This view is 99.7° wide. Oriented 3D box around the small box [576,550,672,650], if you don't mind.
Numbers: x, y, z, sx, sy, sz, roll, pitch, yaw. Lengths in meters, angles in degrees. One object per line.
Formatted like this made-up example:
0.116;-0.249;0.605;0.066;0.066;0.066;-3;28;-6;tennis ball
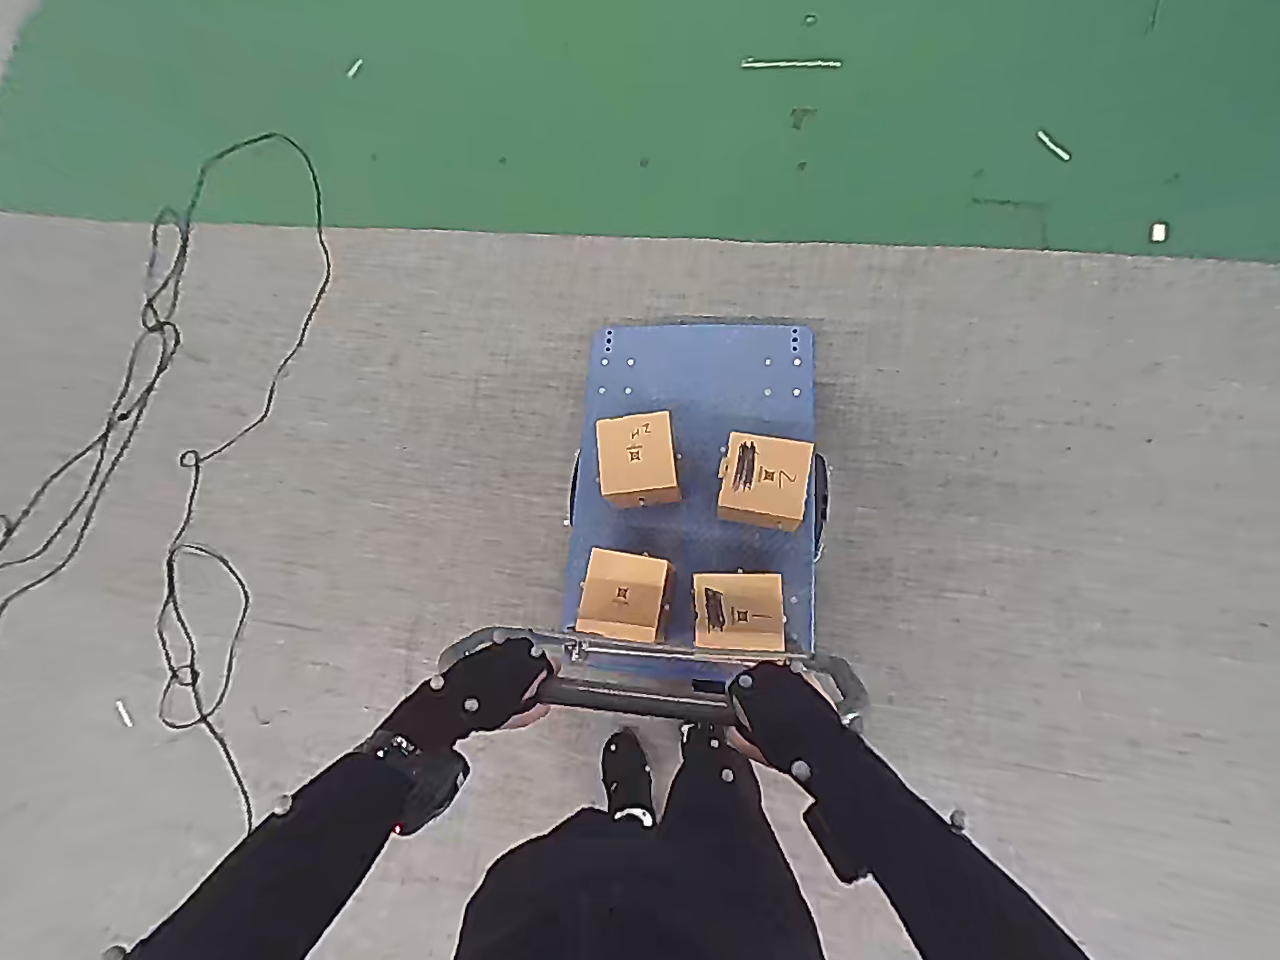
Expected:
-0.027;0.262;1.182;0.168;0.176;0.179;9;78;10;small box

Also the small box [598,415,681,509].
0.003;-0.033;1.252;0.168;0.176;0.179;-6;75;7;small box
